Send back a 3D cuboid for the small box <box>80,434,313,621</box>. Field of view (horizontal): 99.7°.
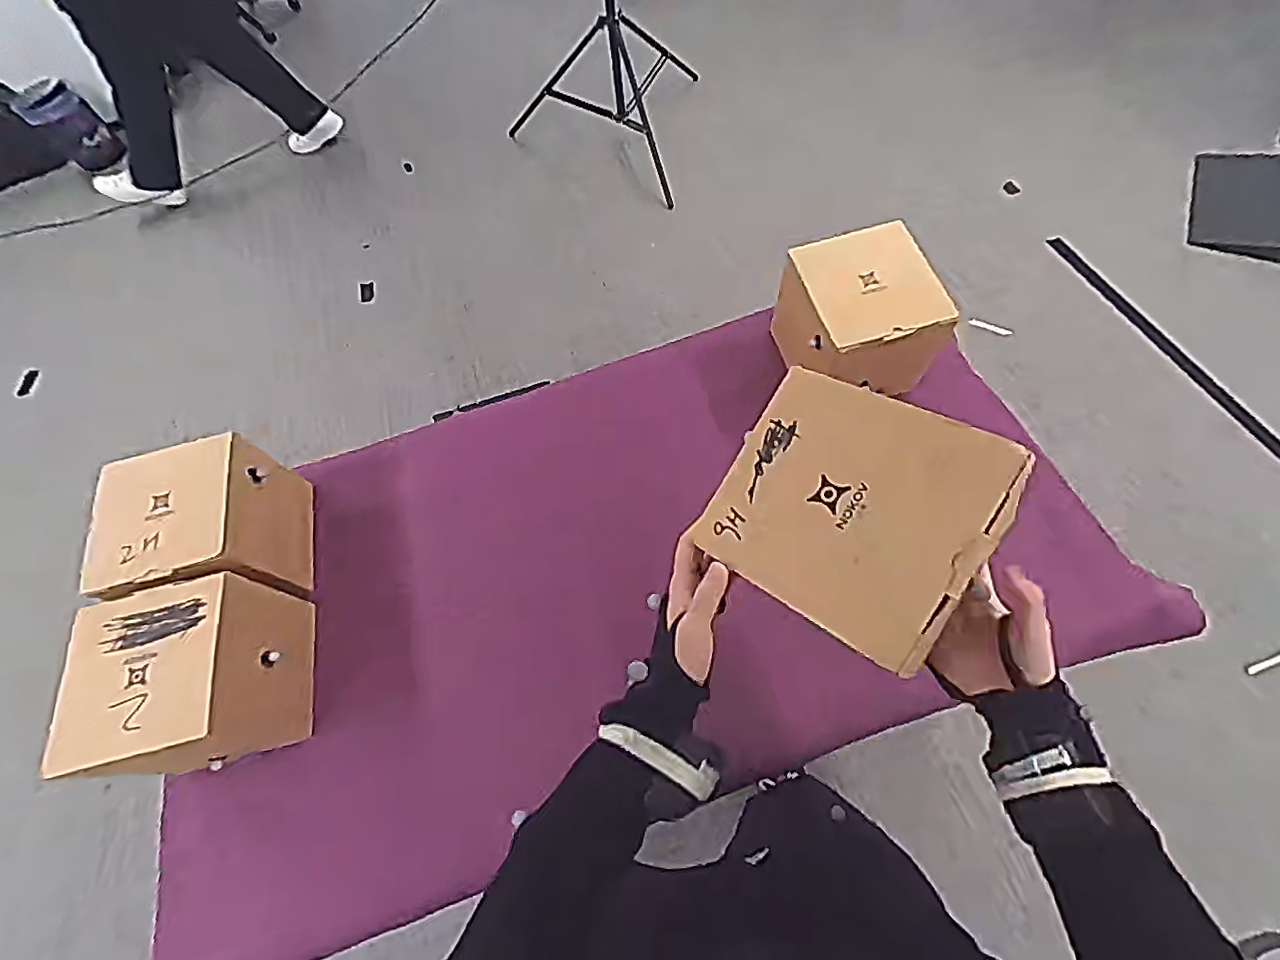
[{"bbox_3d":[-0.564,0.069,0.718,0.168,0.176,0.179,-16,64,-2],"label":"small box"}]

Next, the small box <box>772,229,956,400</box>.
[{"bbox_3d":[0.303,-0.219,0.780,0.168,0.176,0.179,-15,67,-2],"label":"small box"}]

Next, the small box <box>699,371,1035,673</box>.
[{"bbox_3d":[0.188,0.039,0.457,0.179,0.176,0.168,32,90,34],"label":"small box"}]
